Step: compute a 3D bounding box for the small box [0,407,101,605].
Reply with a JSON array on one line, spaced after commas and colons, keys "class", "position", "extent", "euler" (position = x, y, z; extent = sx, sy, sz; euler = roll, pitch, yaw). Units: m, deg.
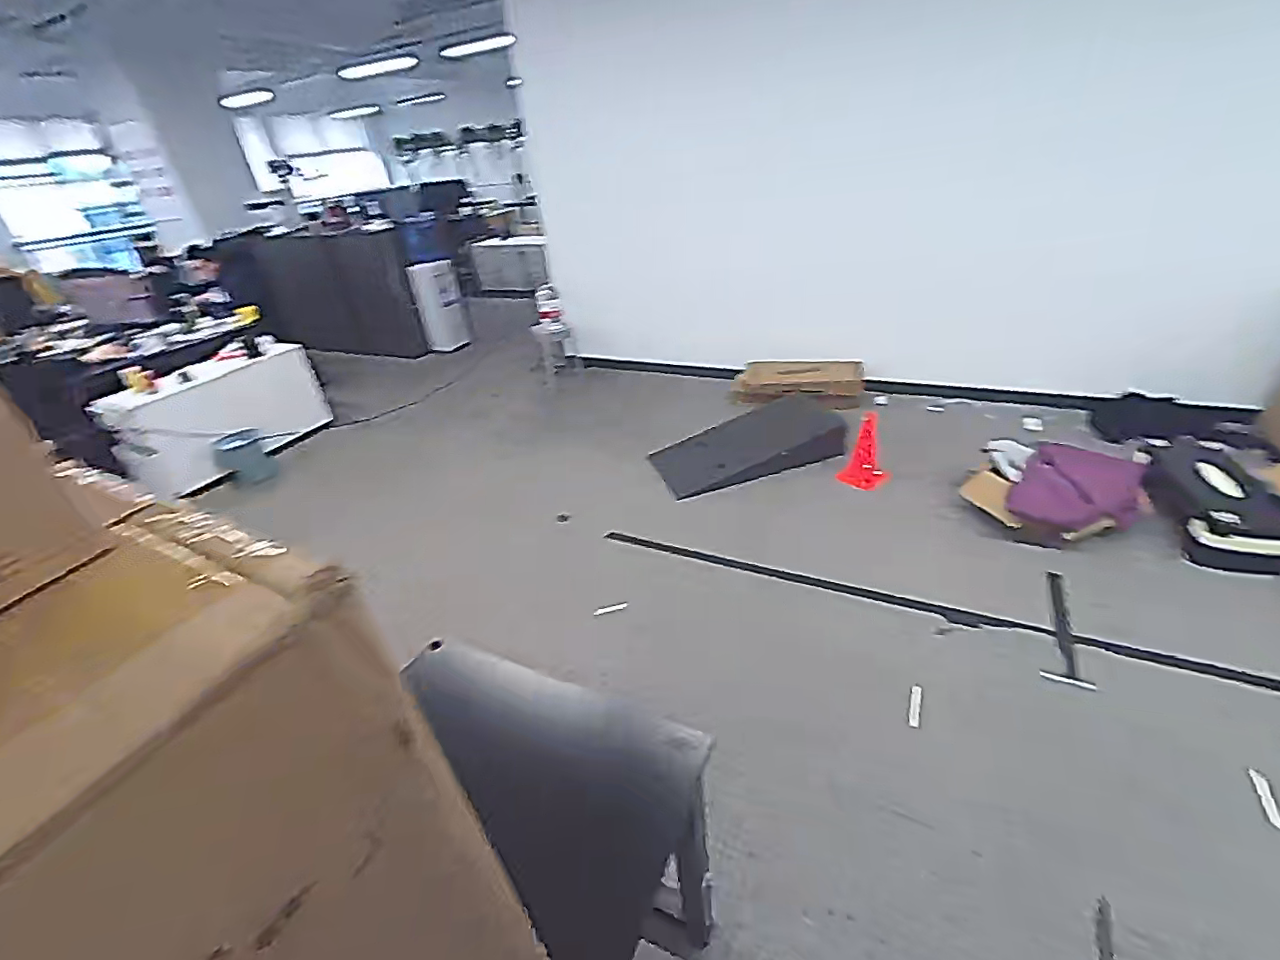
[{"class": "small box", "position": [-0.461, 0.007, 0.282], "extent": [0.179, 0.176, 0.168], "euler": [7, 35, 23]}]
